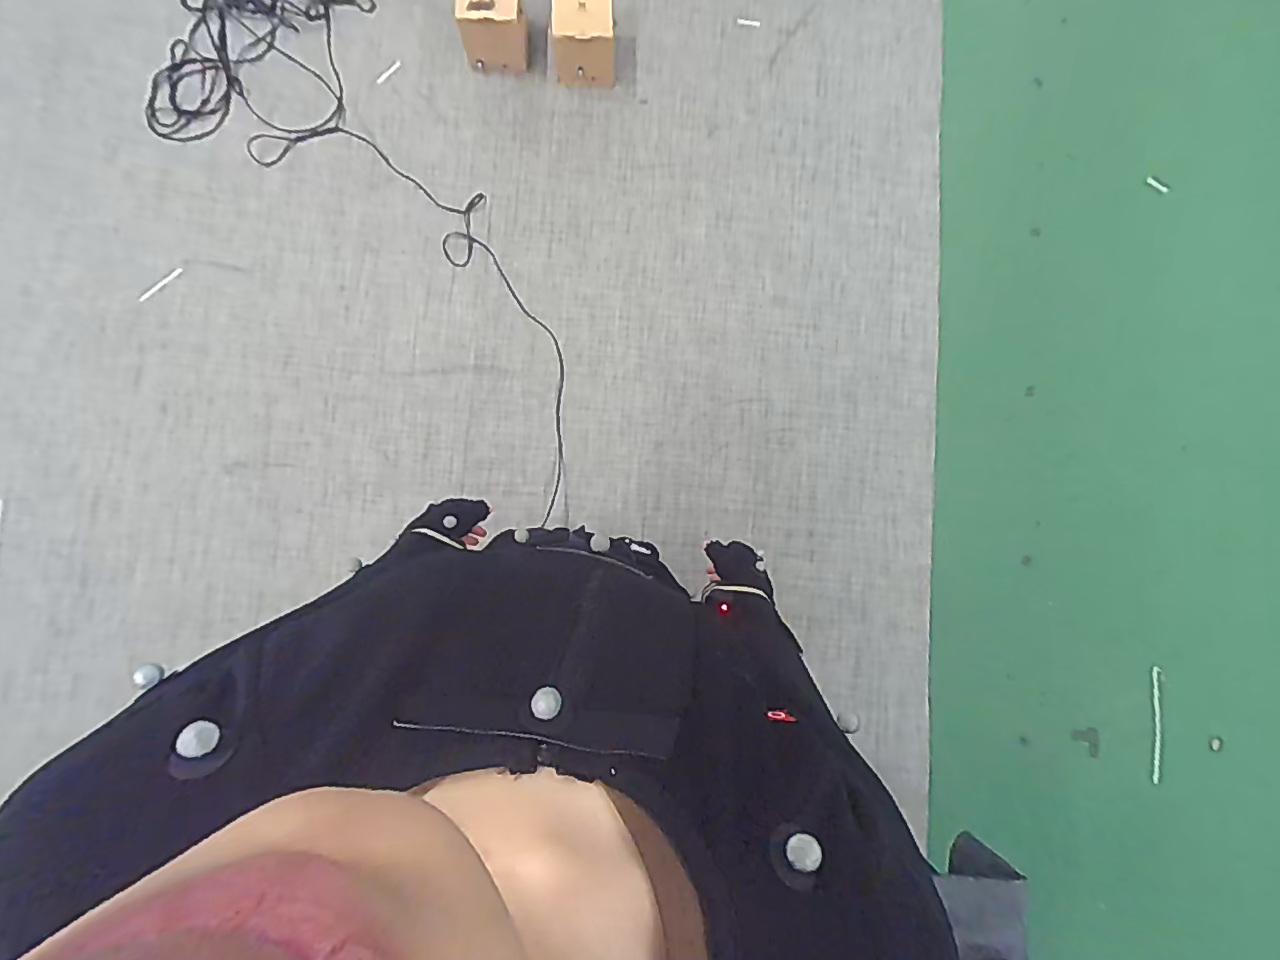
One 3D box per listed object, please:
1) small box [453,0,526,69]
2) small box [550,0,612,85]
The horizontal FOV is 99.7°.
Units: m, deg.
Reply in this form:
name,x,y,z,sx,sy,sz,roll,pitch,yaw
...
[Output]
name,x,y,z,sx,sy,sz,roll,pitch,yaw
small box,-0.417,-1.302,1.520,0.168,0.176,0.179,1,84,-3
small box,-0.164,-1.268,1.531,0.168,0.176,0.179,-2,86,-3
